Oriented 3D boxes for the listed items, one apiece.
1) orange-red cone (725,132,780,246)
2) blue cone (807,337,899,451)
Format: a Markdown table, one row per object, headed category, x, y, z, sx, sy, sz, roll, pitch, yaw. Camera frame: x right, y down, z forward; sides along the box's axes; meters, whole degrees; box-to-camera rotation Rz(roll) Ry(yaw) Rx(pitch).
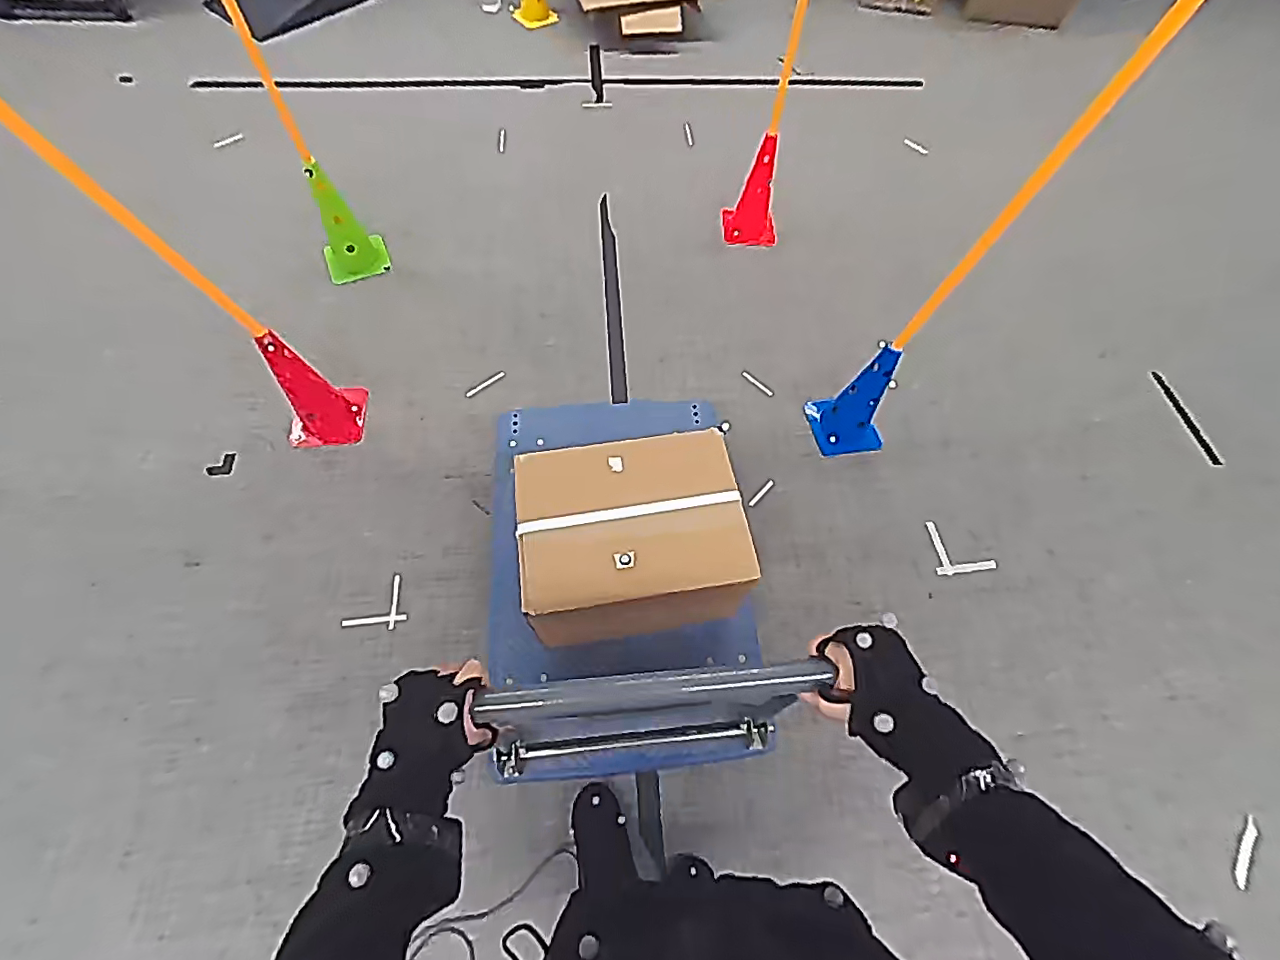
| category | x | y | z | sx | sy | sz | roll | pitch | yaw |
| --- | --- | --- | --- | --- | --- | --- | --- | --- | --- |
| orange-red cone | 0.434 | -1.050 | 1.927 | 0.199 | 0.360 | 0.198 | 3 | 63 | -3 |
| blue cone | 0.639 | -0.253 | 1.537 | 0.193 | 0.380 | 0.192 | -7 | 62 | -7 |
